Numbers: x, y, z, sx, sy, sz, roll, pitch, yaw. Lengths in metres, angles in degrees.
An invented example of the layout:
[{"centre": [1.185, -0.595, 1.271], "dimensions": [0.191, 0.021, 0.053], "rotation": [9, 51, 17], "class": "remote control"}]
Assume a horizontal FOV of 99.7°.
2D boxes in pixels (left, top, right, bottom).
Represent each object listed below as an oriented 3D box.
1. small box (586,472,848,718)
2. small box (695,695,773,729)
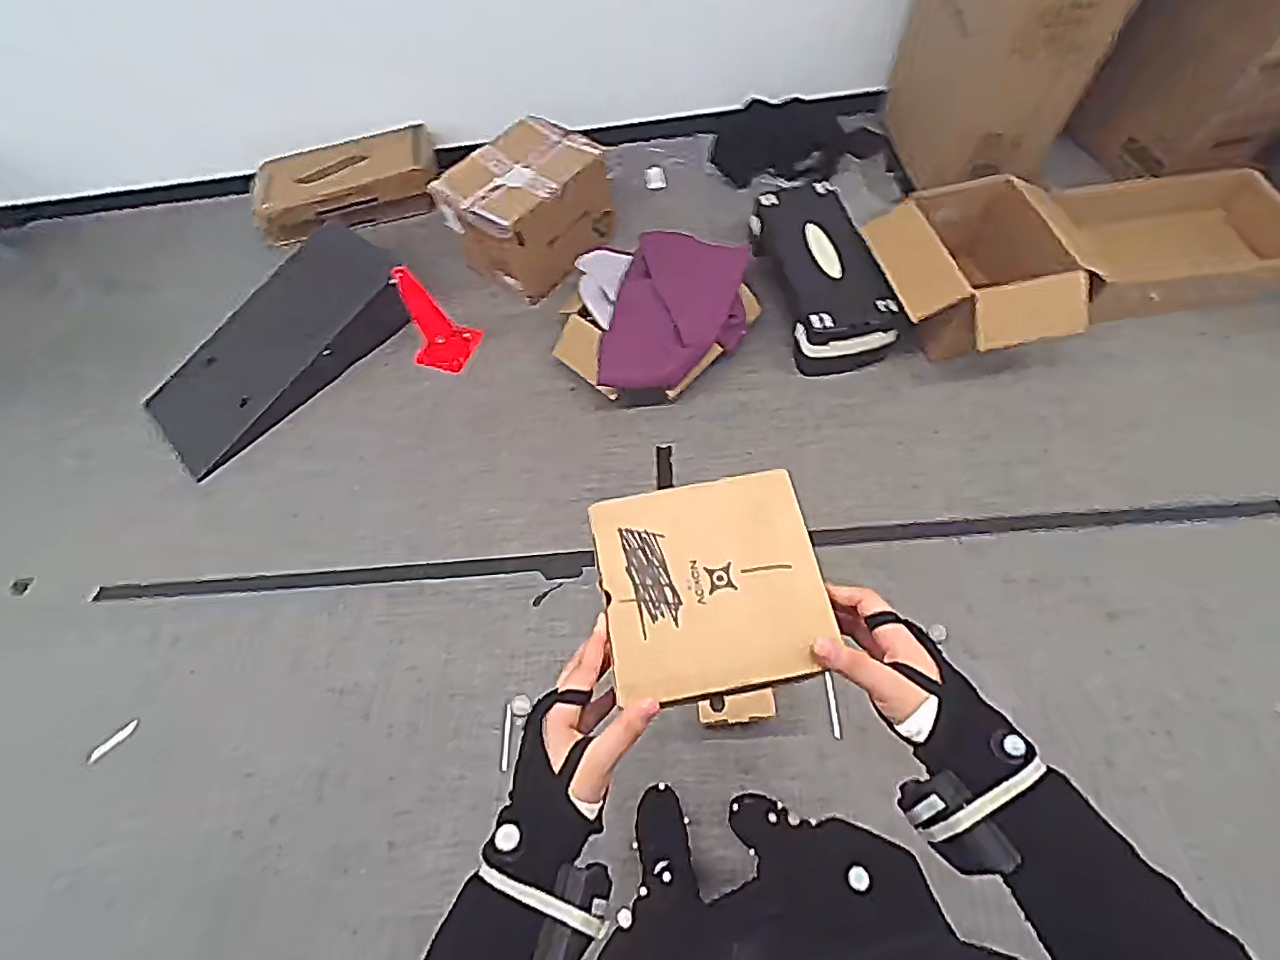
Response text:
[{"centre": [0.058, 0.115, 0.494], "dimensions": [0.179, 0.176, 0.168], "rotation": [-11, 65, -2], "class": "small box"}, {"centre": [0.208, 0.481, 1.263], "dimensions": [0.168, 0.176, 0.179], "rotation": [-6, 63, 4], "class": "small box"}]
